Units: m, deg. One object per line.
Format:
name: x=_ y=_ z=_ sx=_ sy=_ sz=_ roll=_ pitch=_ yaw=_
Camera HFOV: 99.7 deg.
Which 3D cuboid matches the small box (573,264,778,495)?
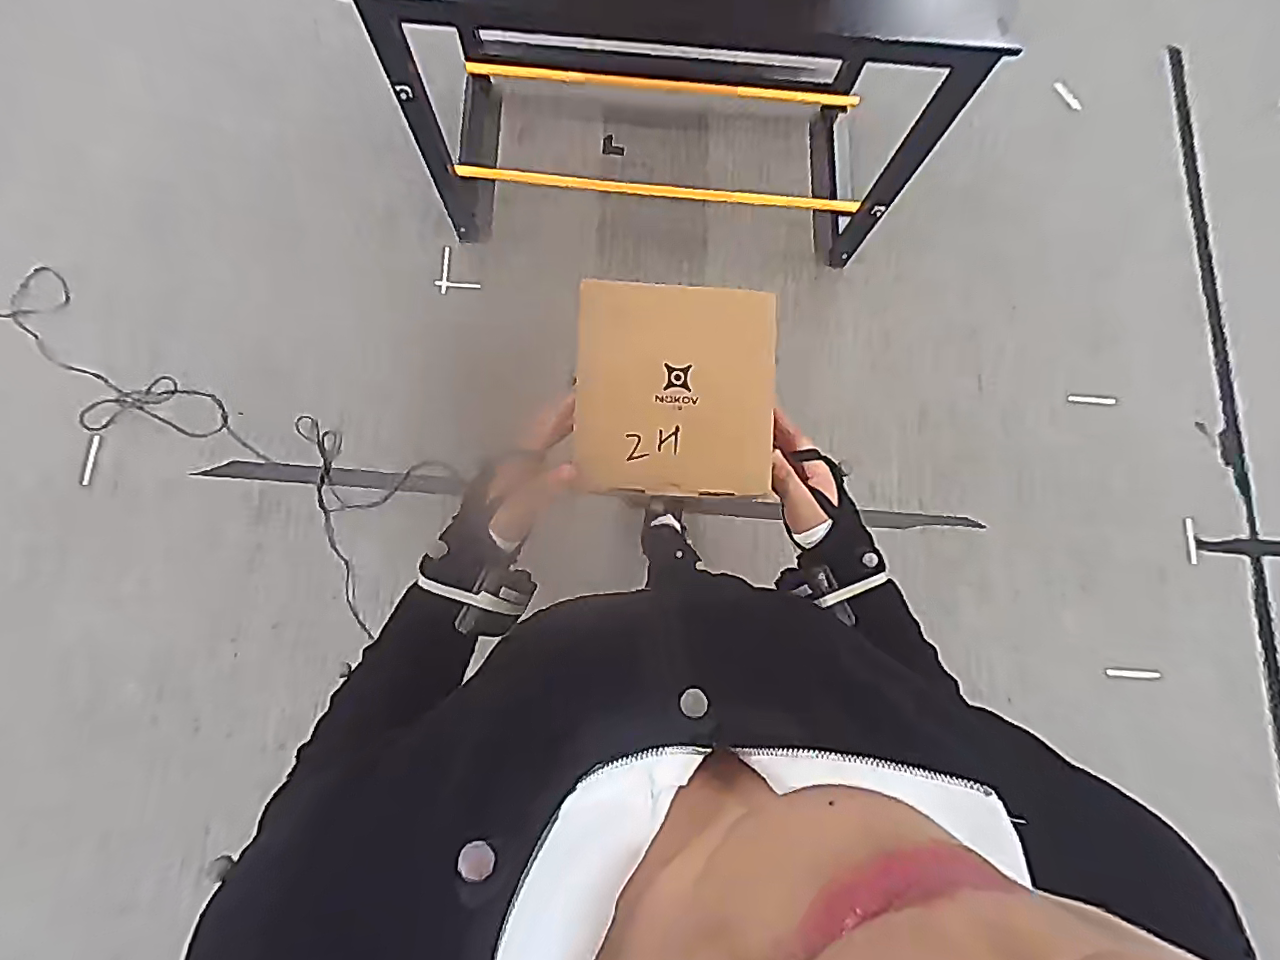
small box: x=0.026 y=-0.081 z=0.520 sx=0.168 sy=0.176 sz=0.179 roll=2 pitch=85 yaw=-3
